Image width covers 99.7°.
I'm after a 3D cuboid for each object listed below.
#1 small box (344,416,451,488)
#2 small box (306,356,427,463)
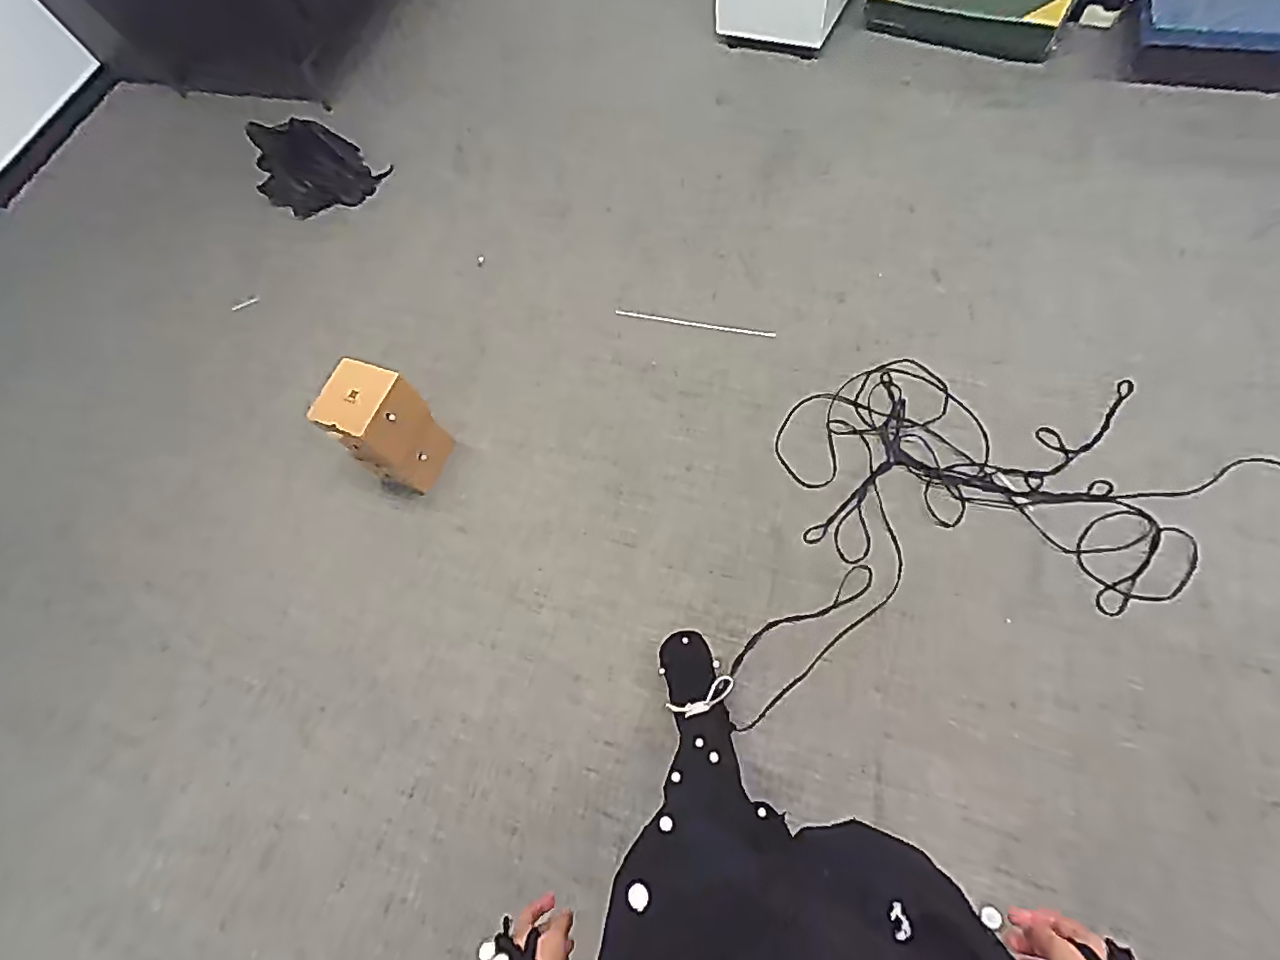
[{"bbox_3d":[-0.644,-0.096,1.460,0.168,0.176,0.179,17,72,14],"label":"small box"},{"bbox_3d":[-0.649,-0.167,1.312,0.168,0.176,0.179,18,72,14],"label":"small box"}]
